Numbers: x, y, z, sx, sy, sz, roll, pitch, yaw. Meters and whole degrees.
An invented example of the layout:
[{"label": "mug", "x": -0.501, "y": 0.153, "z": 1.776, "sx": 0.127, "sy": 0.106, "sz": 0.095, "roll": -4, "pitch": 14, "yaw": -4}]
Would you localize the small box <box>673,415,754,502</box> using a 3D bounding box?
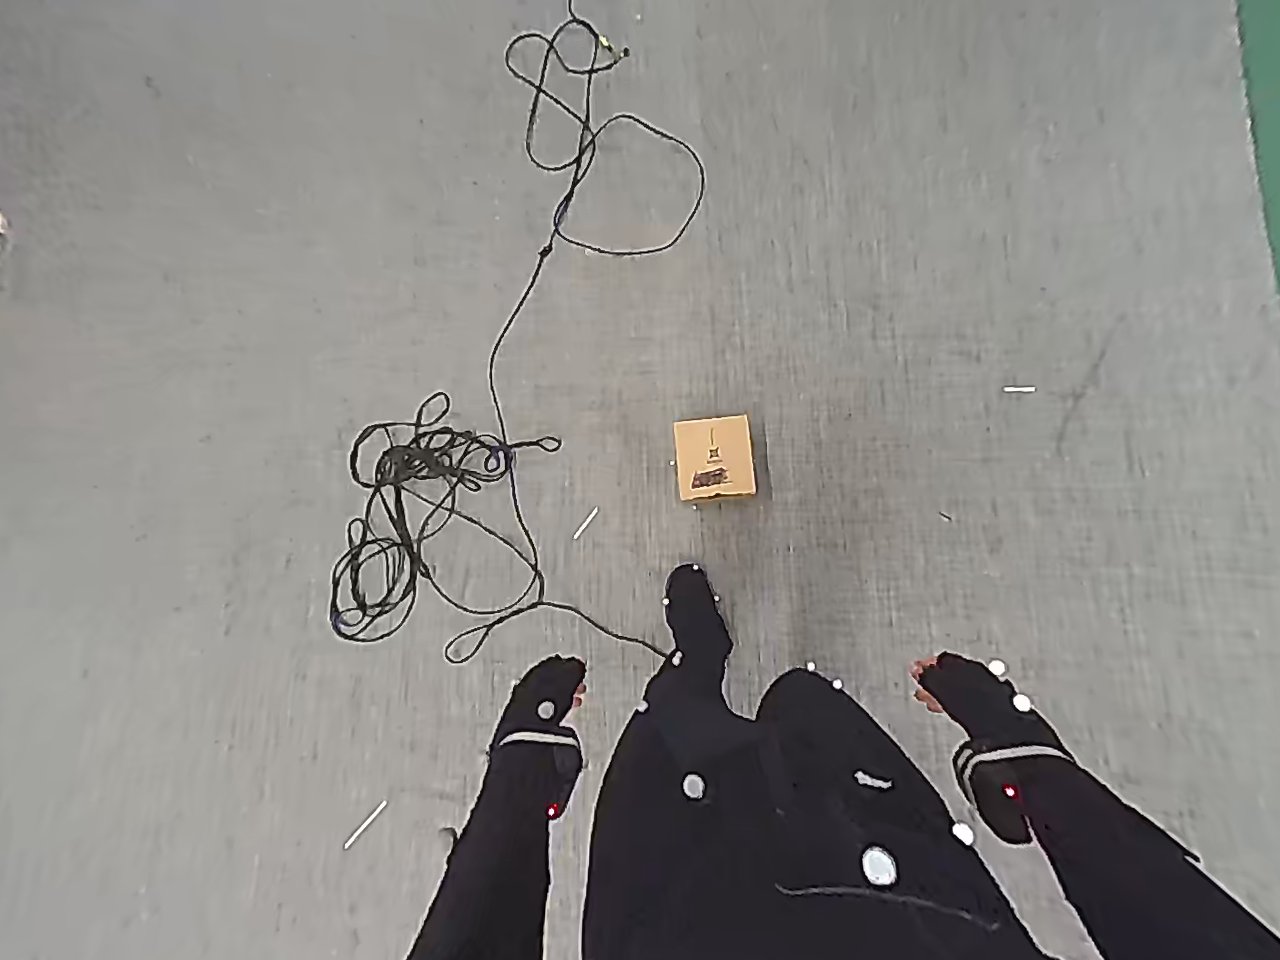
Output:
[{"label": "small box", "x": 0.167, "y": -0.042, "z": 1.249, "sx": 0.168, "sy": 0.176, "sz": 0.179, "roll": -5, "pitch": 82, "yaw": 4}]
